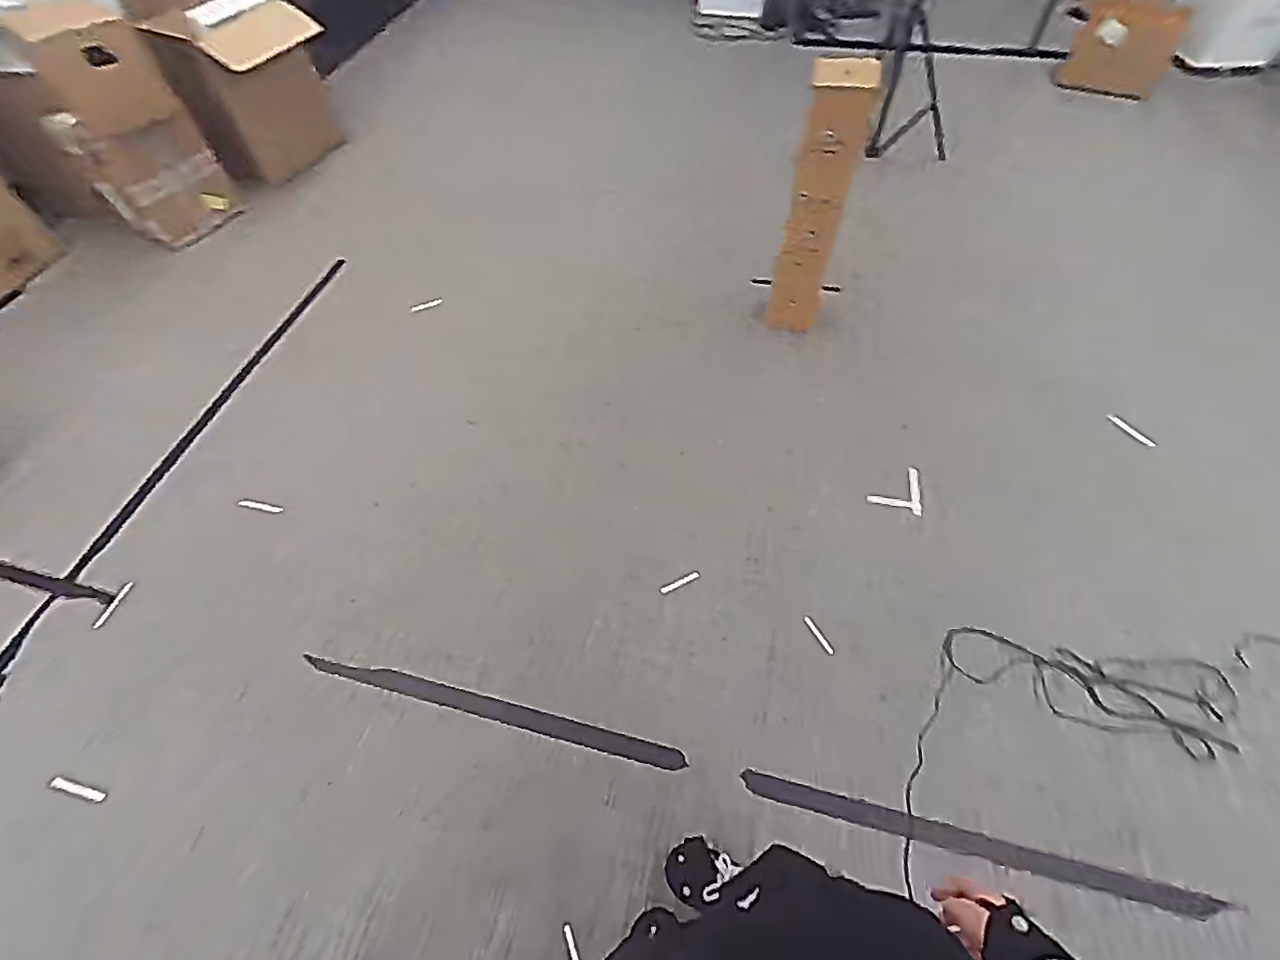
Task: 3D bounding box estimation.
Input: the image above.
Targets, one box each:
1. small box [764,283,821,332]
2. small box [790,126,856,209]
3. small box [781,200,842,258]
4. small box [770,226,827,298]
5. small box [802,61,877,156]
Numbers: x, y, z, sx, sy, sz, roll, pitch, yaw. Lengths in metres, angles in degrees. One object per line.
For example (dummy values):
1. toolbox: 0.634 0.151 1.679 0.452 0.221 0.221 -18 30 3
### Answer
1. small box: 0.583 -0.688 2.070 0.179 0.176 0.168 10 58 9
2. small box: 0.562 -0.958 1.659 0.168 0.176 0.179 11 57 10
3. small box: 0.571 -0.866 1.795 0.168 0.176 0.179 11 59 10
4. small box: 0.569 -0.776 1.932 0.179 0.176 0.168 12 59 11
5. small box: 0.557 -1.046 1.523 0.168 0.176 0.179 8 59 10
